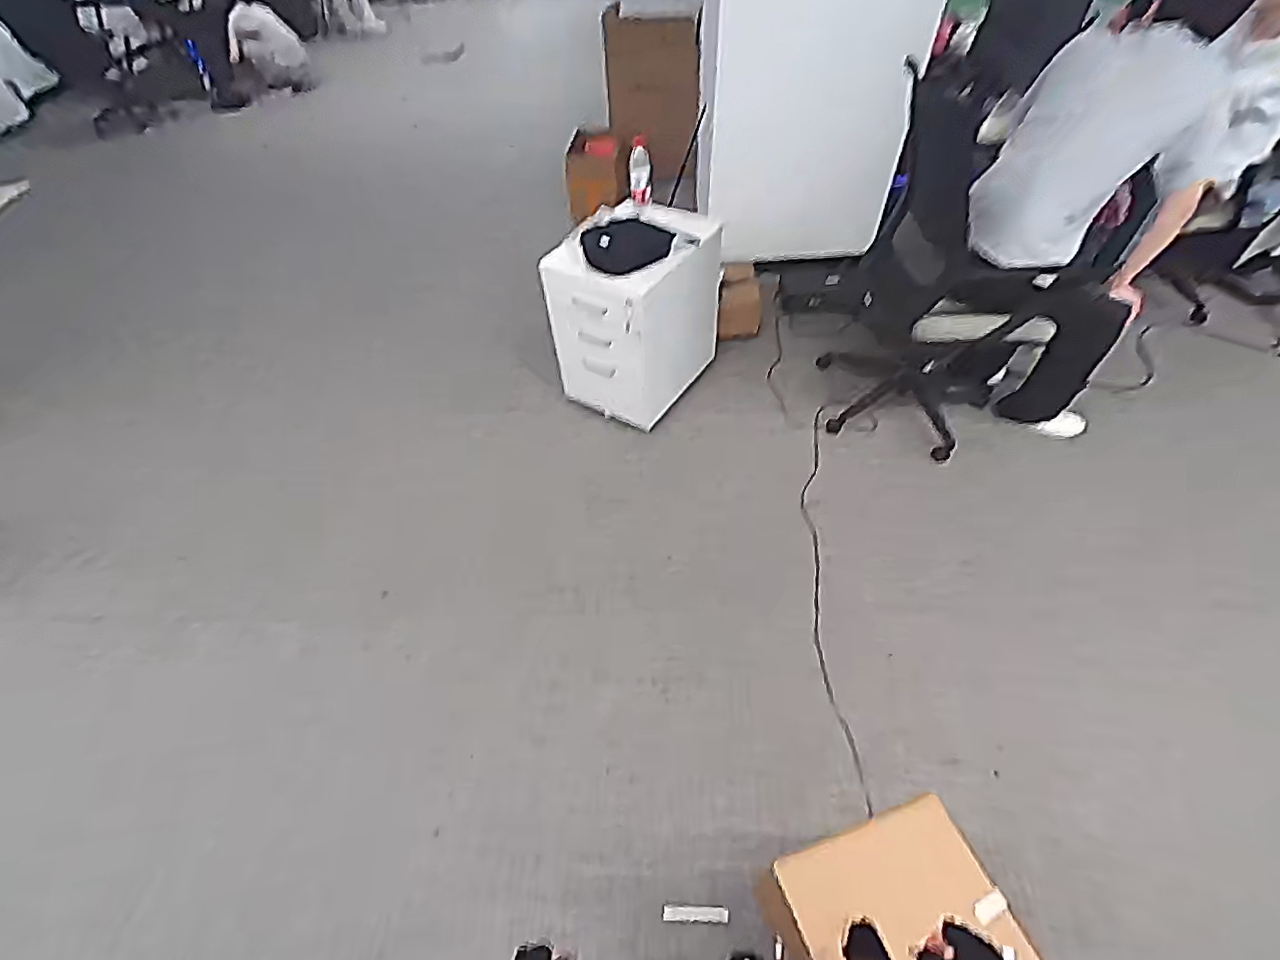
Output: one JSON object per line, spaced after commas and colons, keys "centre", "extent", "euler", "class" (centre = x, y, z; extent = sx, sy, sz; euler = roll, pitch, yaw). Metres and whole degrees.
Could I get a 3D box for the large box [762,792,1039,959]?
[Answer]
{"centre": [0.435, 0.817, 0.964], "extent": [0.320, 0.408, 0.320], "euler": [-18, 49, -7], "class": "large box"}
